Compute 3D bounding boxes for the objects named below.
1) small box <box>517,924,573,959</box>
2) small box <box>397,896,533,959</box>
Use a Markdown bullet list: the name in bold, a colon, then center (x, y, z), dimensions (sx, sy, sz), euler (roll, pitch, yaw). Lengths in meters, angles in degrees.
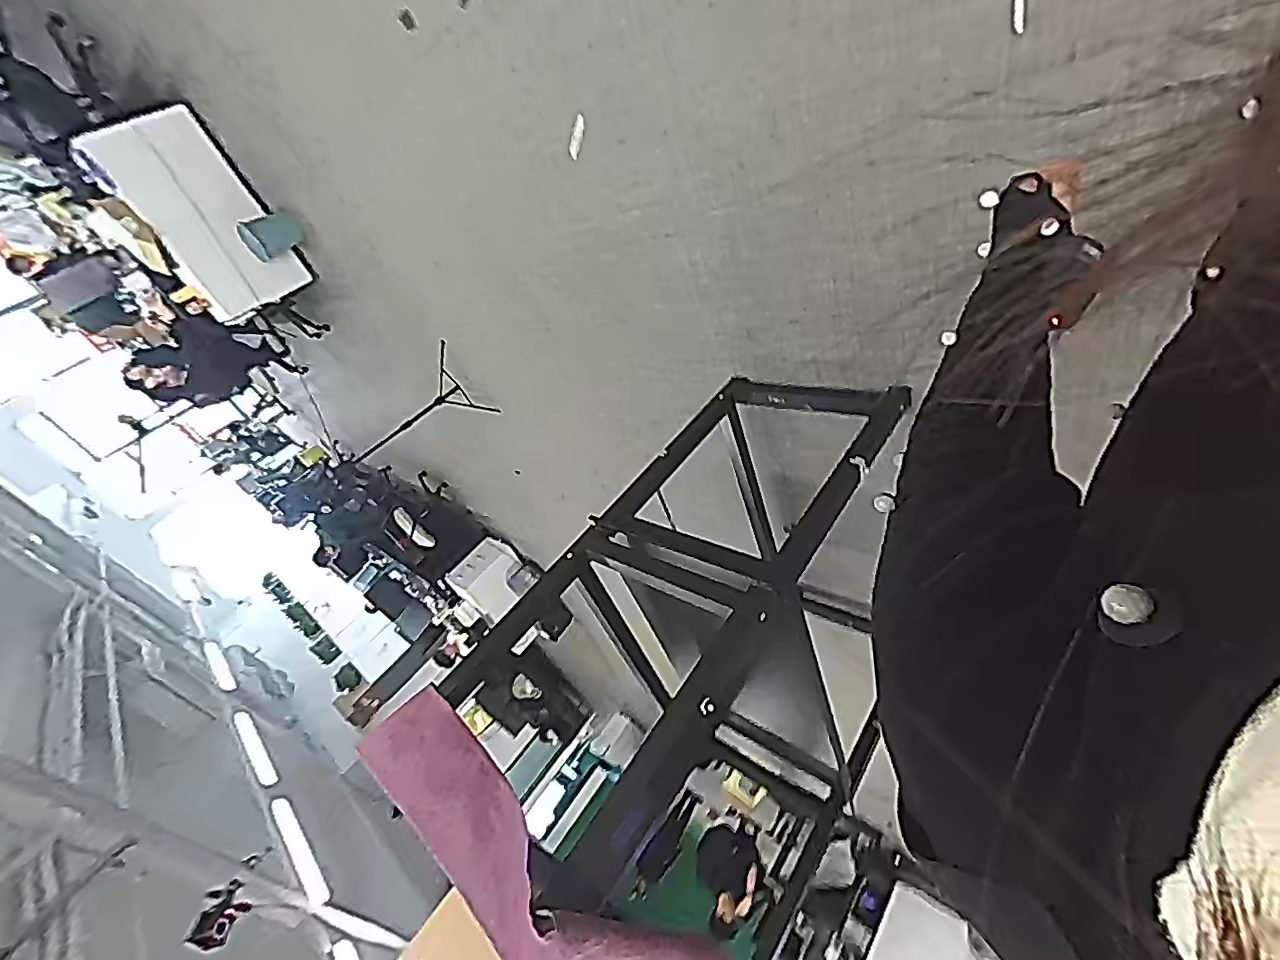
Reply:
- **small box**: center (-0.193, 1.002, 1.022), dimensions (0.179, 0.176, 0.168), euler (11, 138, 46)
- **small box**: center (-0.276, 0.811, 0.860), dimensions (0.179, 0.176, 0.168), euler (9, 137, 48)
